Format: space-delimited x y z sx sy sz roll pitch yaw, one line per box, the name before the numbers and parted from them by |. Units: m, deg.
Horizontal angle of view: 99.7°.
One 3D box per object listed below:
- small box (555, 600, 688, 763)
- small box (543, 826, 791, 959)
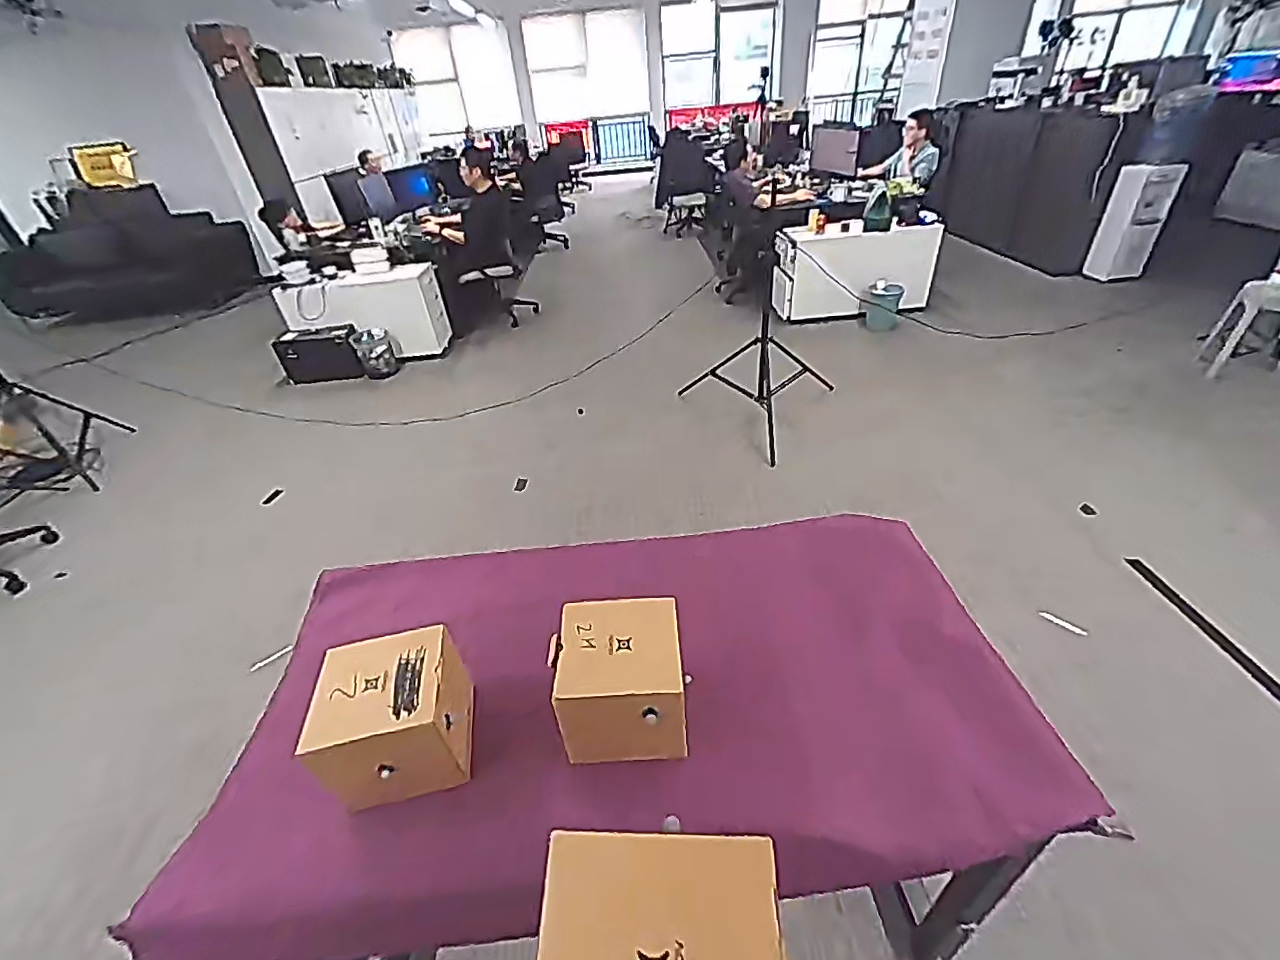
small box | -0.020 0.304 0.816 0.179 0.176 0.168 -5 35 2
small box | 0.022 0.391 0.432 0.179 0.176 0.168 0 49 3
